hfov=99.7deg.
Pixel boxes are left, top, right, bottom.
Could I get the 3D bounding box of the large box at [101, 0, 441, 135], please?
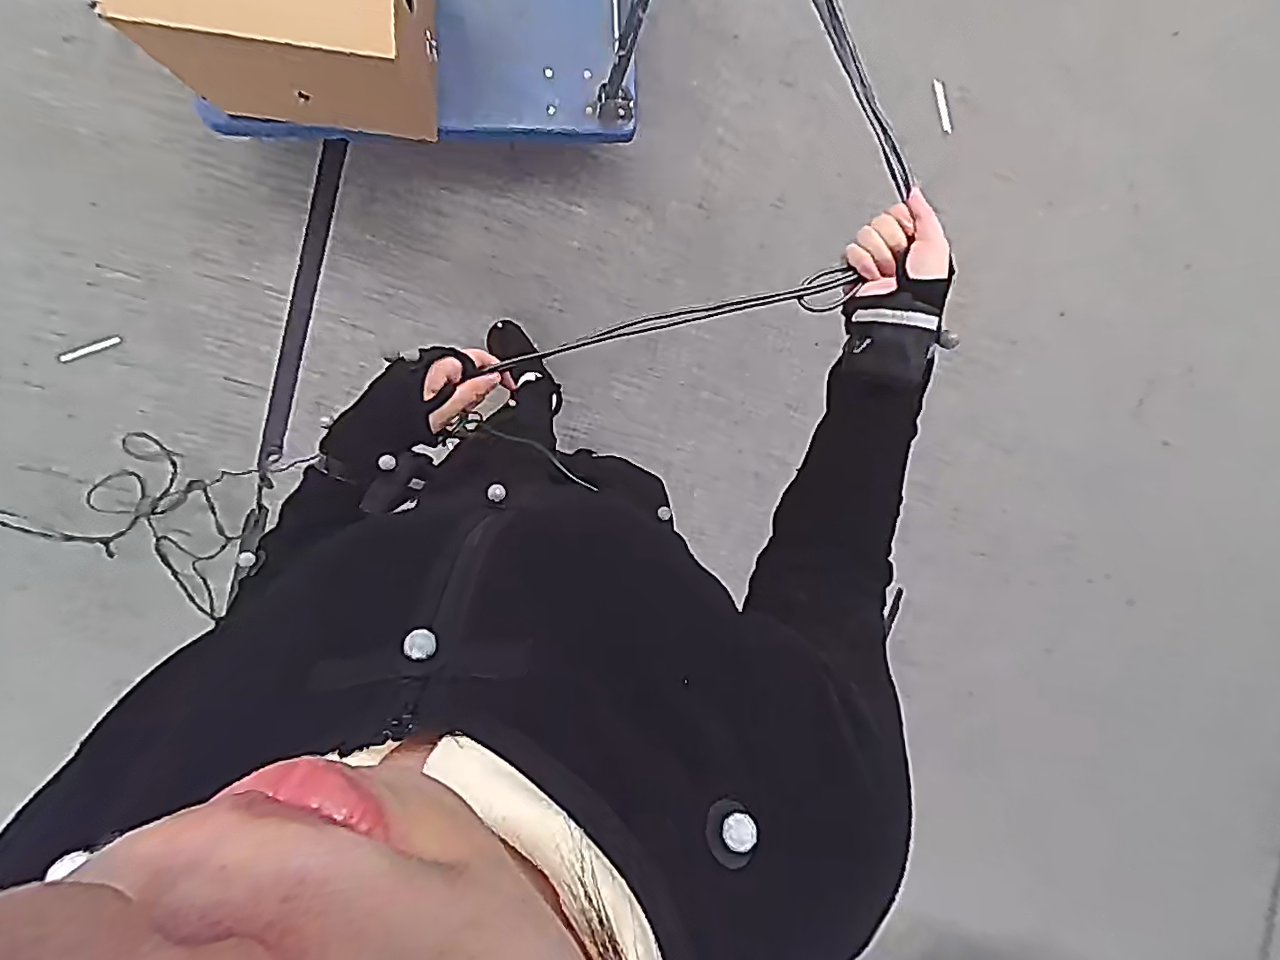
[{"bbox_3d":[-0.576,-0.824,0.907,0.408,0.320,0.320,2,100,-9],"label":"large box"}]
